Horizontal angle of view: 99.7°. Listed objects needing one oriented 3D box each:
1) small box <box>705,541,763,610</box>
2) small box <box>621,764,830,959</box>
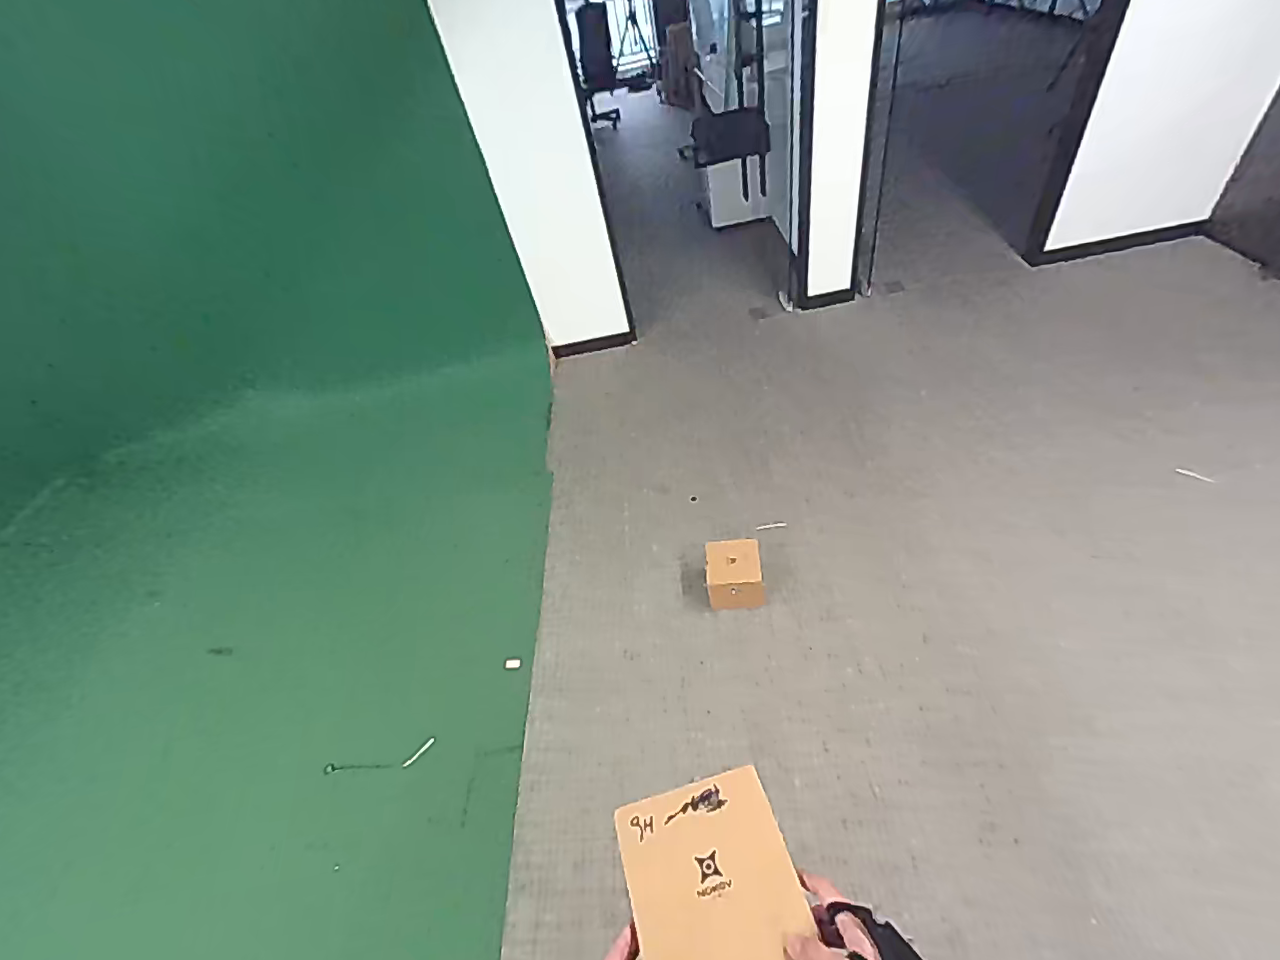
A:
[{"bbox_3d":[0.315,0.324,1.809,0.179,0.176,0.168,-5,47,10],"label":"small box"},{"bbox_3d":[0.086,0.450,0.595,0.168,0.176,0.179,-14,44,-5],"label":"small box"}]
